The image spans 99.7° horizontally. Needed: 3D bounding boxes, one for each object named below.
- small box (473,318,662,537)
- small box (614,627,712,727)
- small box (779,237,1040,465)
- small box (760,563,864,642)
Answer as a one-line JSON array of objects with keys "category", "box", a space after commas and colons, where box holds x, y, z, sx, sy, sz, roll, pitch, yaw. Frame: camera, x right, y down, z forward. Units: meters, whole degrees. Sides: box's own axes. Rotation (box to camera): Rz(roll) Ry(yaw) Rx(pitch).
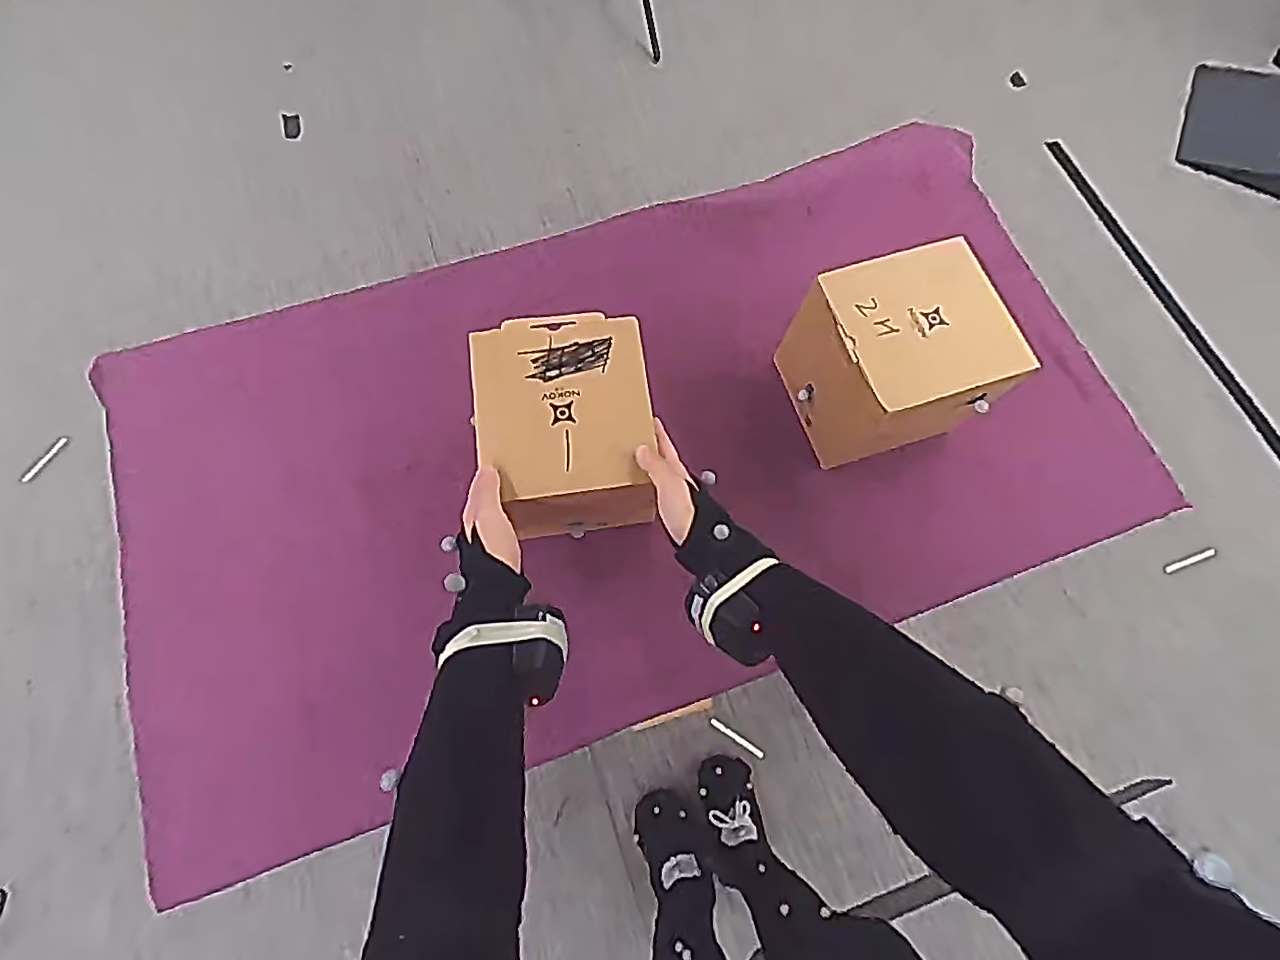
[{"category": "small box", "box": [-0.074, -0.047, 0.579, 0.168, 0.176, 0.179, -7, 74, -4]}, {"category": "small box", "box": [0.043, 0.429, 1.202, 0.179, 0.176, 0.168, -14, 75, -6]}, {"category": "small box", "box": [0.284, -0.135, 0.615, 0.179, 0.176, 0.168, -17, 74, -6]}, {"category": "small box", "box": [0.391, 0.286, 1.256, 0.179, 0.176, 0.168, -3, 74, -2]}]
